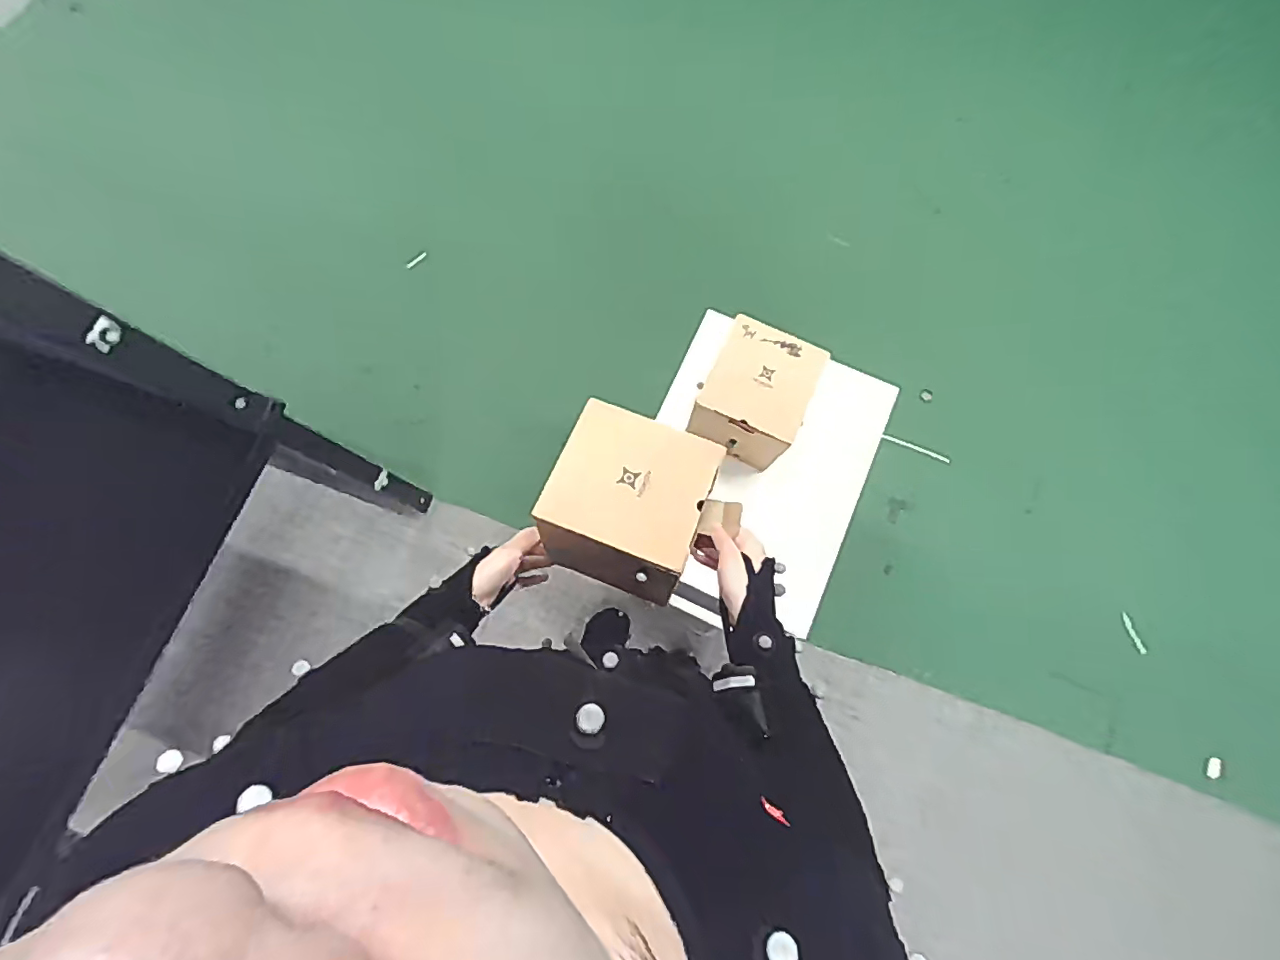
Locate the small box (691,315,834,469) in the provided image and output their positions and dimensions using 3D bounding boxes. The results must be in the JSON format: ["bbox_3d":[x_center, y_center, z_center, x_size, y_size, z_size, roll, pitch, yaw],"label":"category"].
[{"bbox_3d":[0.196,-0.138,0.917,0.168,0.176,0.179,26,78,4],"label":"small box"}]

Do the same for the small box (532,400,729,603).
[{"bbox_3d":[-0.012,0.036,0.664,0.179,0.176,0.168,21,66,5],"label":"small box"}]
